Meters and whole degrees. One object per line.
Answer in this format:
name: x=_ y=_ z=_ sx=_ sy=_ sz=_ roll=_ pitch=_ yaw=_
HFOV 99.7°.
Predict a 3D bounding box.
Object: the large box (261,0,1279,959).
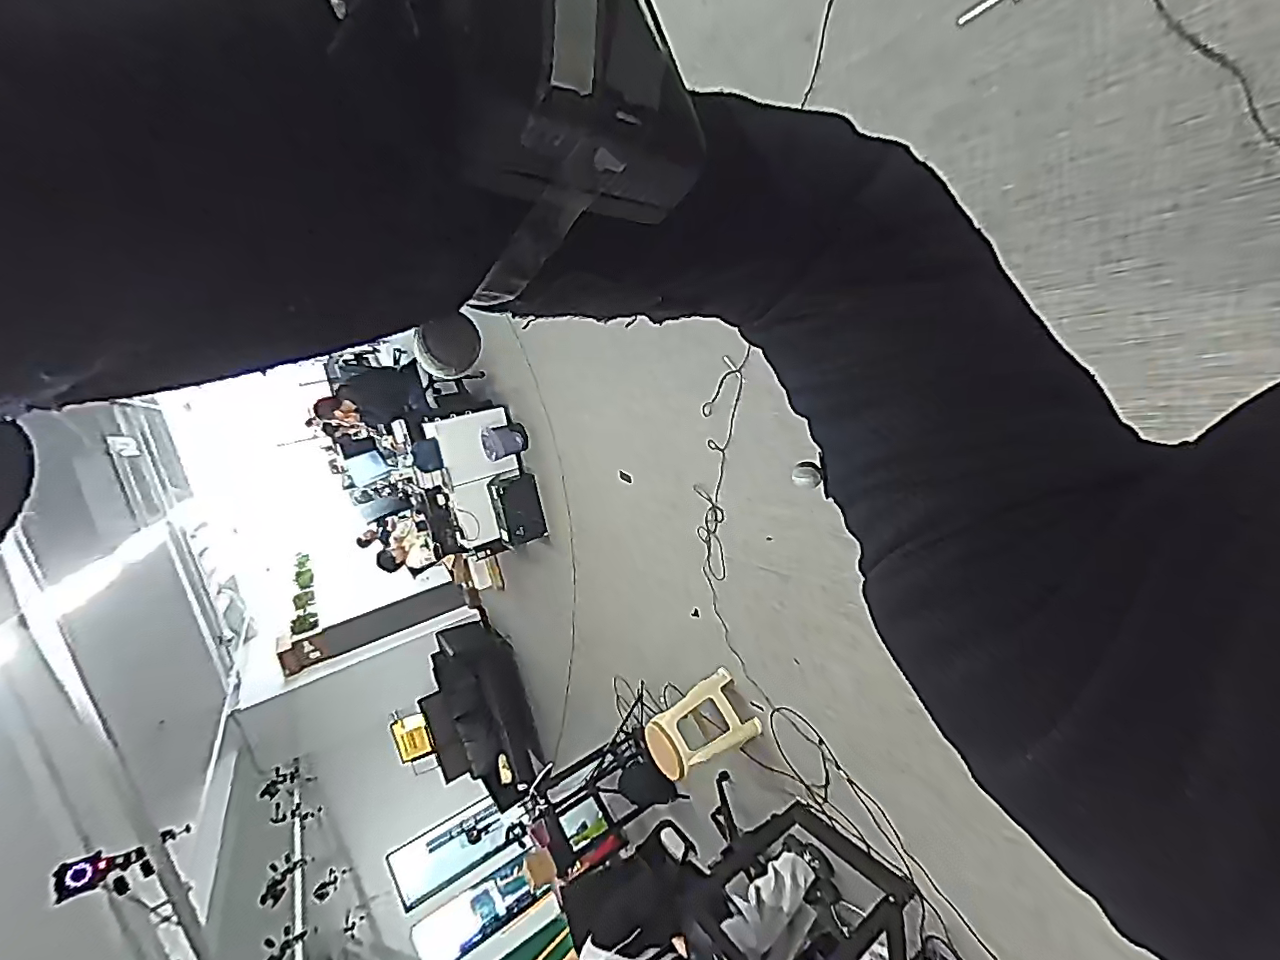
large box: x=0.138 y=0.049 z=0.155 sx=0.408 sy=0.320 sz=0.320 roll=17 pitch=-110 yaw=55
